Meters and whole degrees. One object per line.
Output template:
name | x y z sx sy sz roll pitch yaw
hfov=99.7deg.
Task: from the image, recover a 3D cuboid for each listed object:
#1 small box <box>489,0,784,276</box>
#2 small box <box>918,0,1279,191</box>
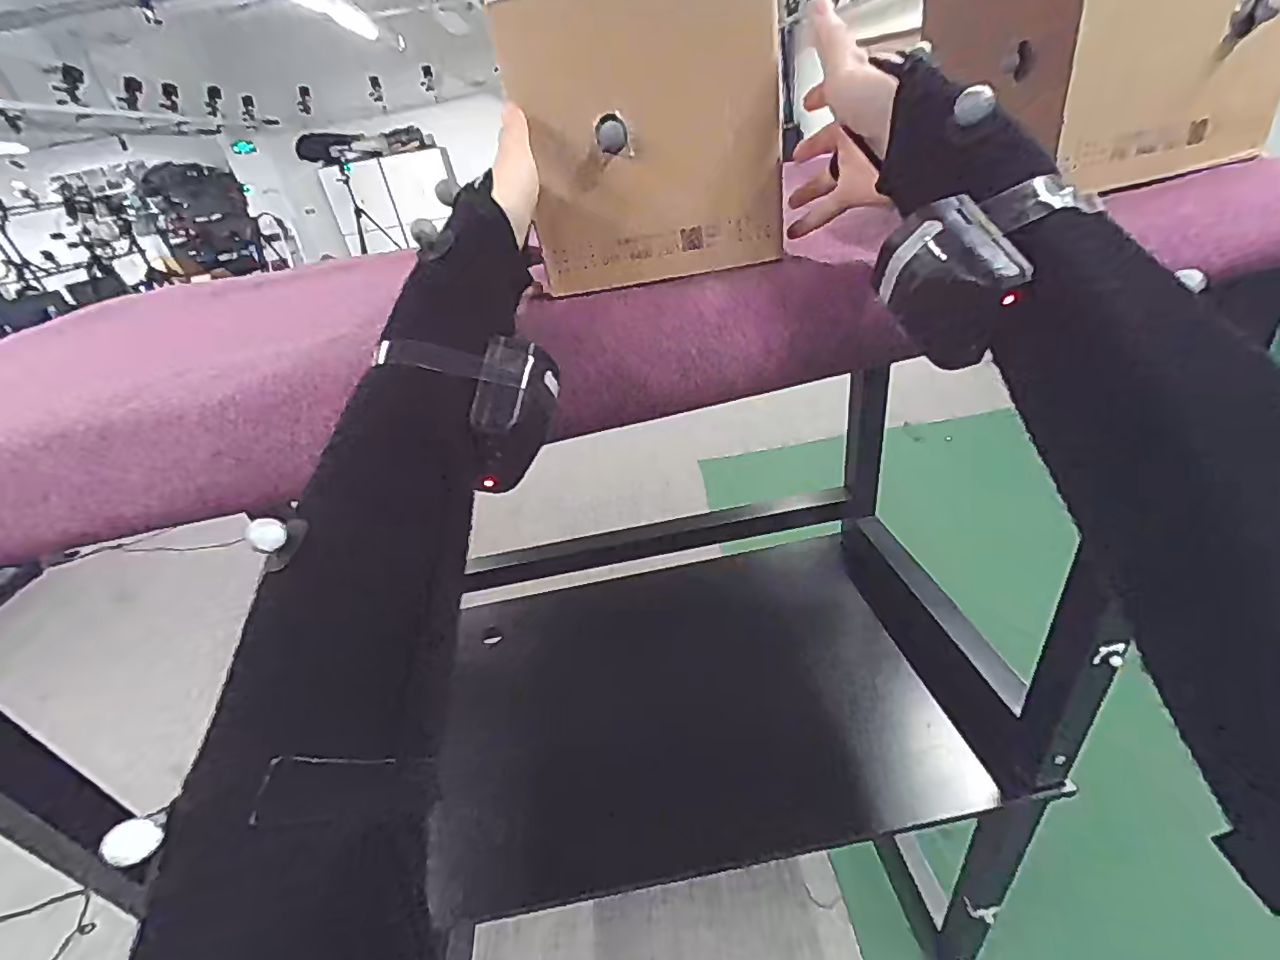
small box | 0.007 -0.259 0.404 0.168 0.176 0.179 -8 30 4
small box | 0.342 -0.330 0.415 0.168 0.176 0.179 -12 30 -2
